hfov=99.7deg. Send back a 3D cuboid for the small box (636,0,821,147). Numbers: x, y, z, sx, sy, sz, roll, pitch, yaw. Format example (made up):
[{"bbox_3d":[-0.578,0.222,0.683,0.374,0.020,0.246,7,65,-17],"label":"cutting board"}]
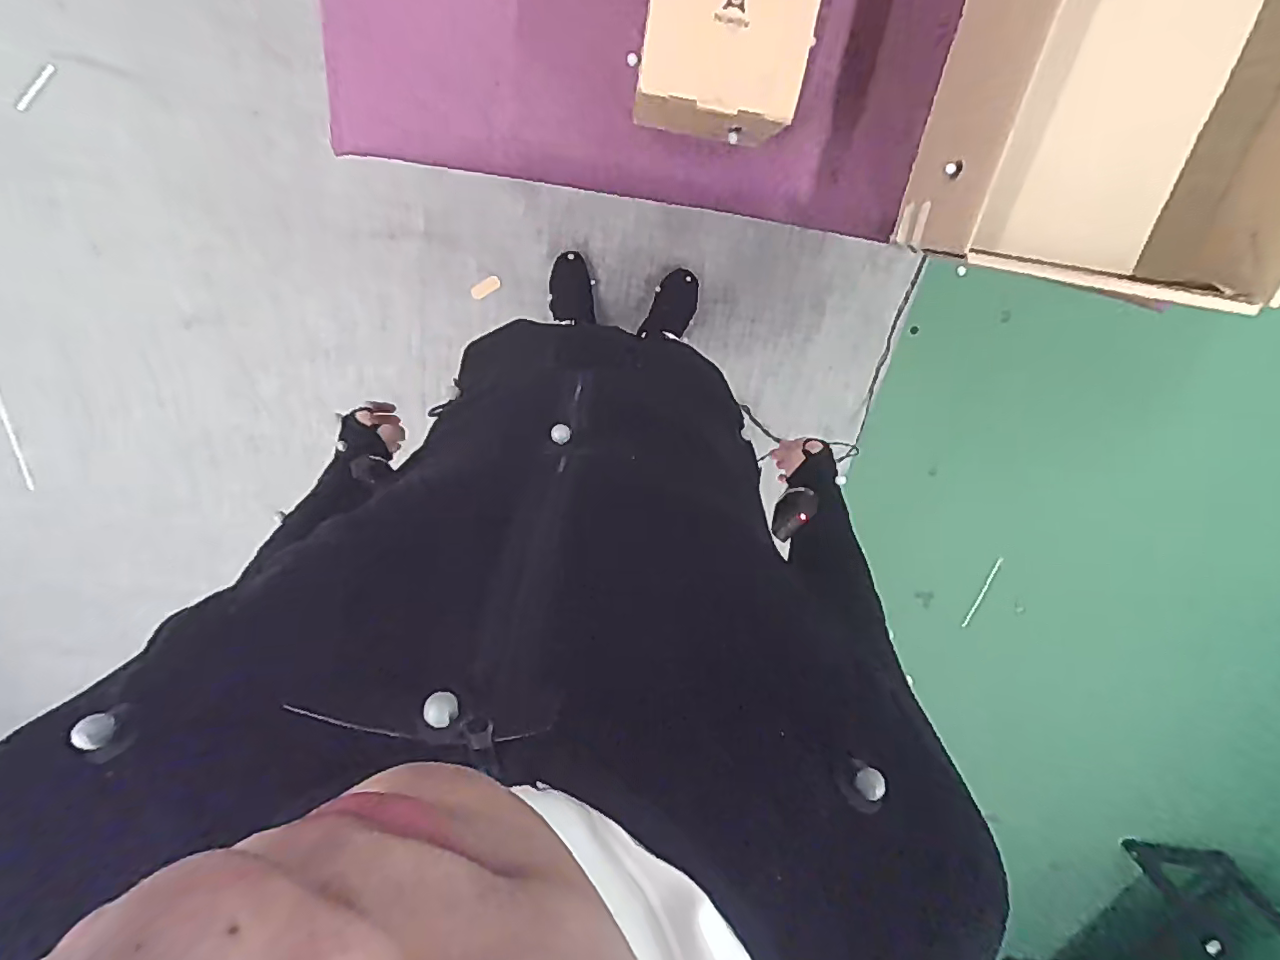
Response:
[{"bbox_3d":[0.089,-0.490,0.597,0.168,0.176,0.179,8,113,-7],"label":"small box"}]

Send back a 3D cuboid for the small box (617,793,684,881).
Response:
[{"bbox_3d":[0.035,1.210,1.841,0.179,0.176,0.168,-22,113,8],"label":"small box"}]
